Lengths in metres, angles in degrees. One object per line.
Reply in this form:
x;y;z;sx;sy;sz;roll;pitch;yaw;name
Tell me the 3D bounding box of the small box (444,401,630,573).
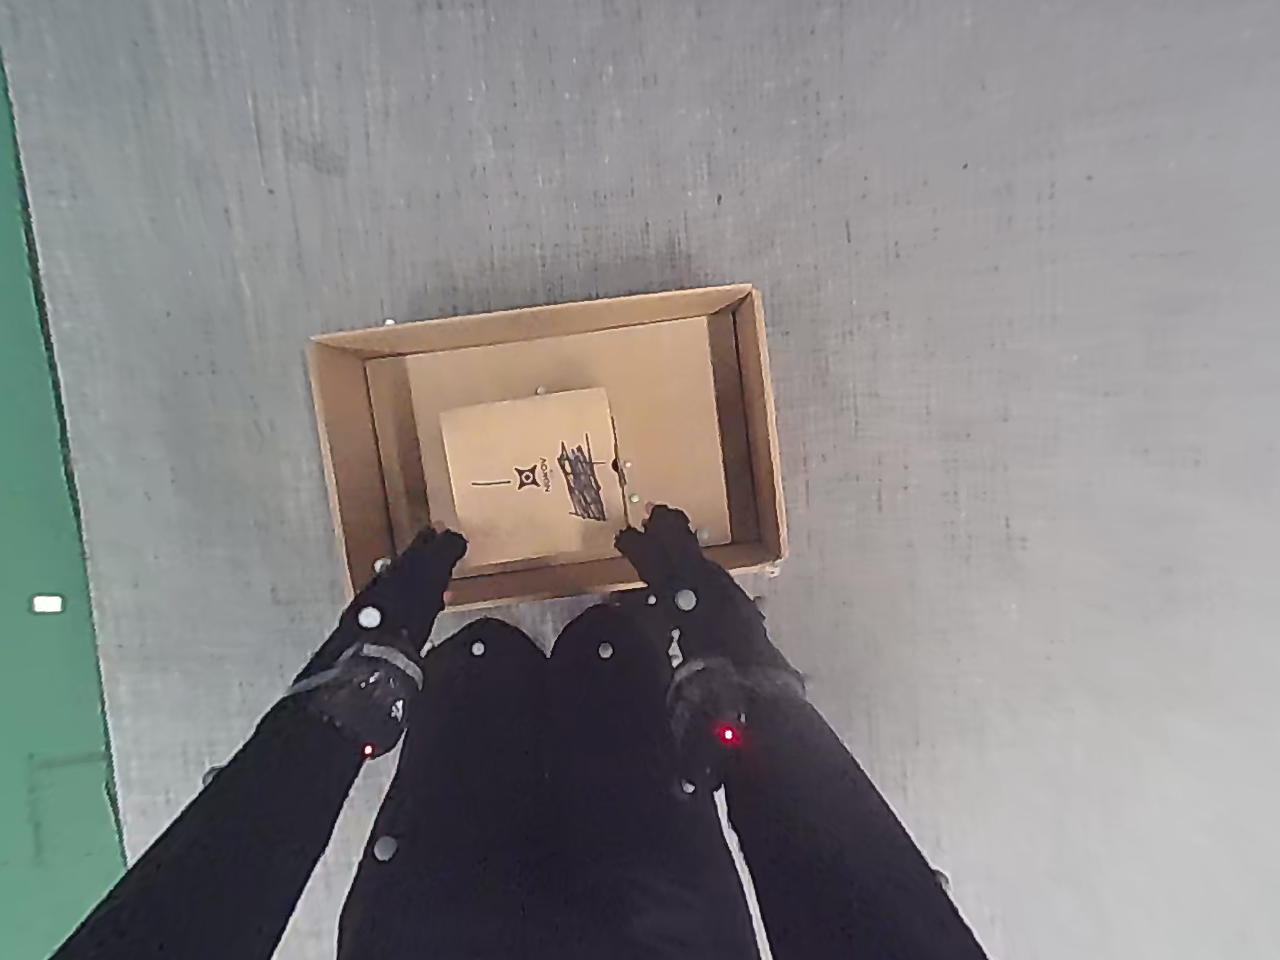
-0.105;0.002;0.634;0.179;0.176;0.168;-7;93;1;small box
